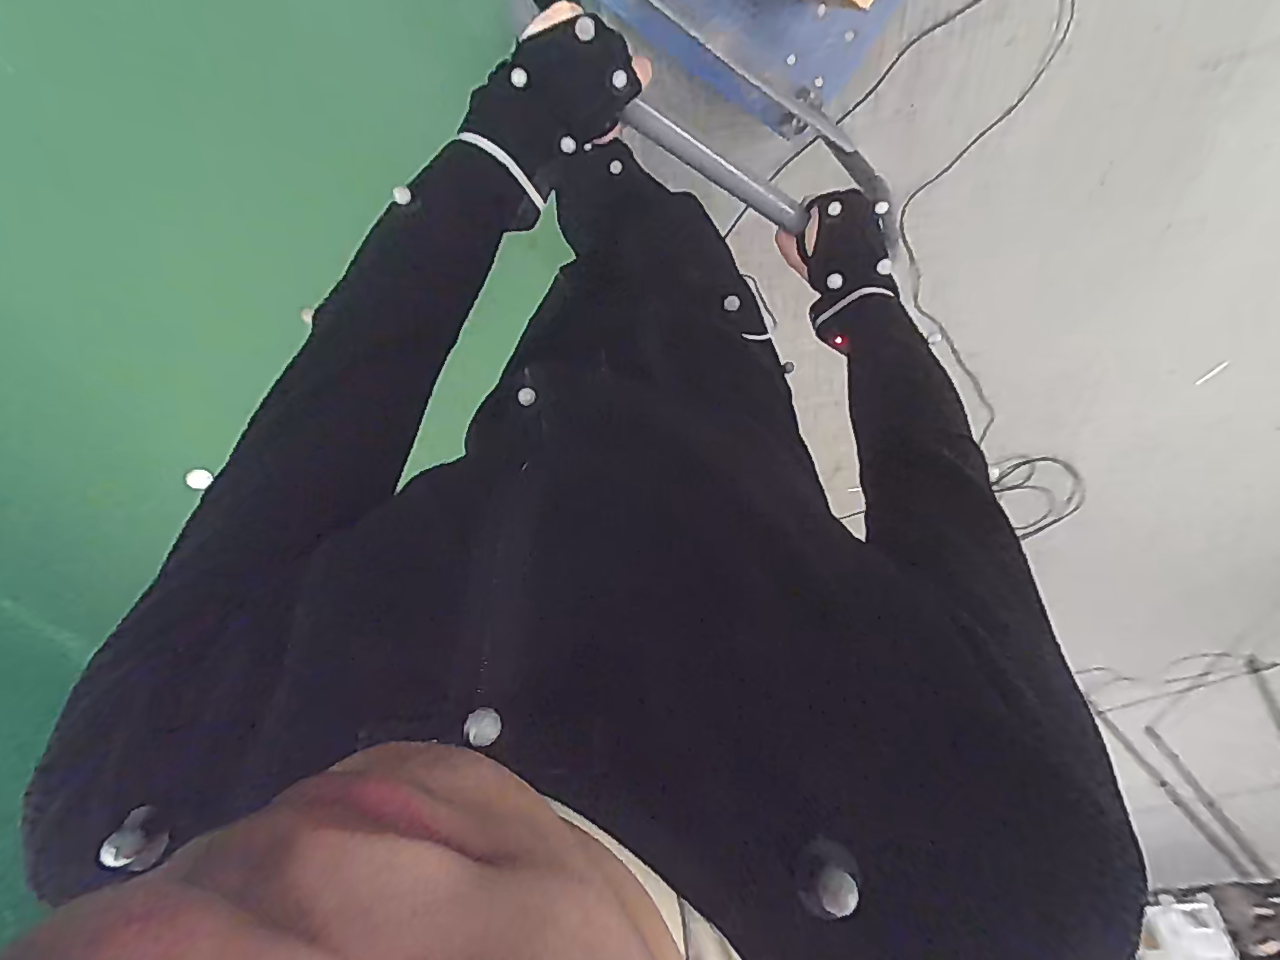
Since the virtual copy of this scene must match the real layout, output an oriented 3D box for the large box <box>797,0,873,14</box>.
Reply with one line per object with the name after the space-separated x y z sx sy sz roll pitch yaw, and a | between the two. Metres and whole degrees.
0.258 -0.918 0.691 0.320 0.320 0.408 20 129 -19 | large box
